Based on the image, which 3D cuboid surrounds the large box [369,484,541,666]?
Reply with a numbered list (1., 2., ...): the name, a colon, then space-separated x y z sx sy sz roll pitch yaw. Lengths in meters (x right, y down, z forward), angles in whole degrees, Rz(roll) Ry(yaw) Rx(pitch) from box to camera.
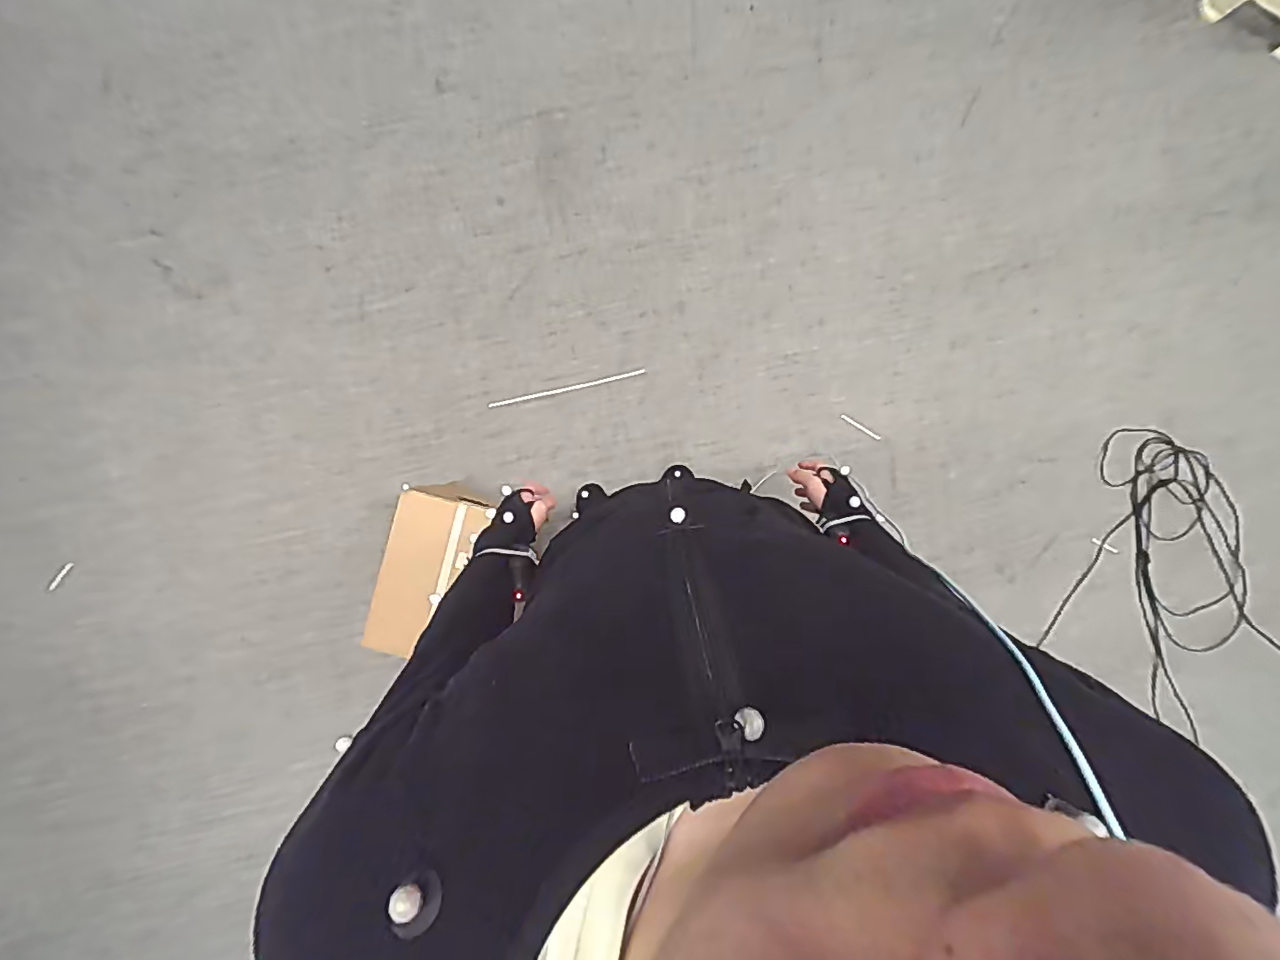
1. large box: -0.485 0.240 1.489 0.320 0.320 0.408 15 90 -3
